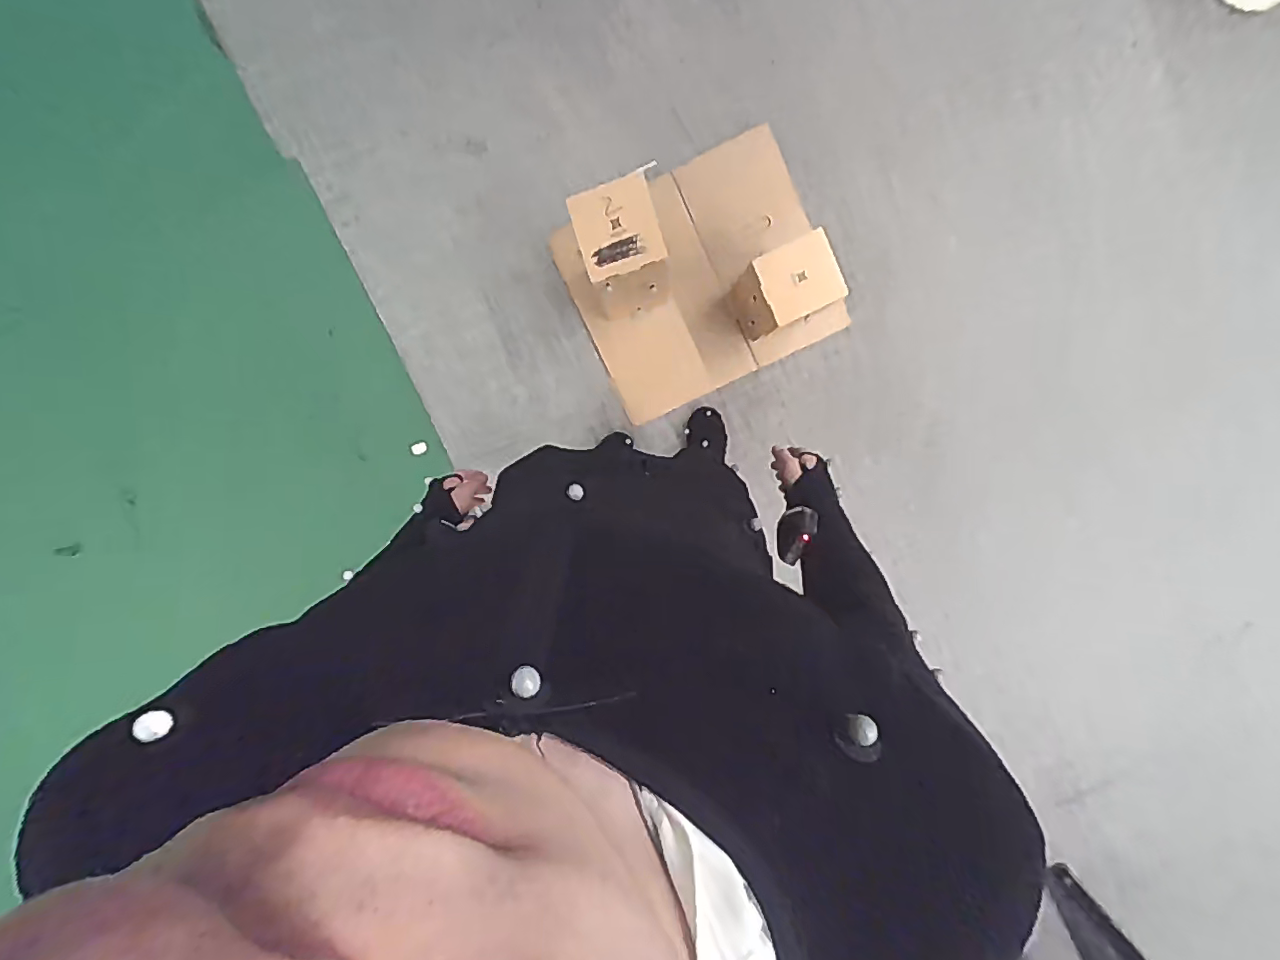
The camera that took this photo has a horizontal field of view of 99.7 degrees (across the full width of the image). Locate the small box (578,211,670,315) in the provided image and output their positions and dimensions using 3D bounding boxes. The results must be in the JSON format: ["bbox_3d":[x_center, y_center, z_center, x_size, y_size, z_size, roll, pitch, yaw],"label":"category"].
[{"bbox_3d":[-0.034,-0.518,1.315,0.179,0.176,0.168,-17,95,5],"label":"small box"}]

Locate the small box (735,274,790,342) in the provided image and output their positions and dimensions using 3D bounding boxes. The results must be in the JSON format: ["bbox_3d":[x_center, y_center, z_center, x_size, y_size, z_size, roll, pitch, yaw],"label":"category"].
[{"bbox_3d":[0.369,-0.489,1.469,0.179,0.176,0.168,-24,95,6],"label":"small box"}]

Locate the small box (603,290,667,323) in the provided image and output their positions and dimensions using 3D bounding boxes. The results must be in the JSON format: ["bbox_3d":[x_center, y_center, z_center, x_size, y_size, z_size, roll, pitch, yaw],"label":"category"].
[{"bbox_3d":[-0.032,-0.543,1.479,0.179,0.176,0.168,-17,95,4],"label":"small box"}]

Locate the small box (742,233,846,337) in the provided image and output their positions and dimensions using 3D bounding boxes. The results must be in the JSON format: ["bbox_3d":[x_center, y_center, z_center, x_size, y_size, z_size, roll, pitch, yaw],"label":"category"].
[{"bbox_3d":[0.365,-0.463,1.310,0.179,0.176,0.168,-25,96,7],"label":"small box"}]
